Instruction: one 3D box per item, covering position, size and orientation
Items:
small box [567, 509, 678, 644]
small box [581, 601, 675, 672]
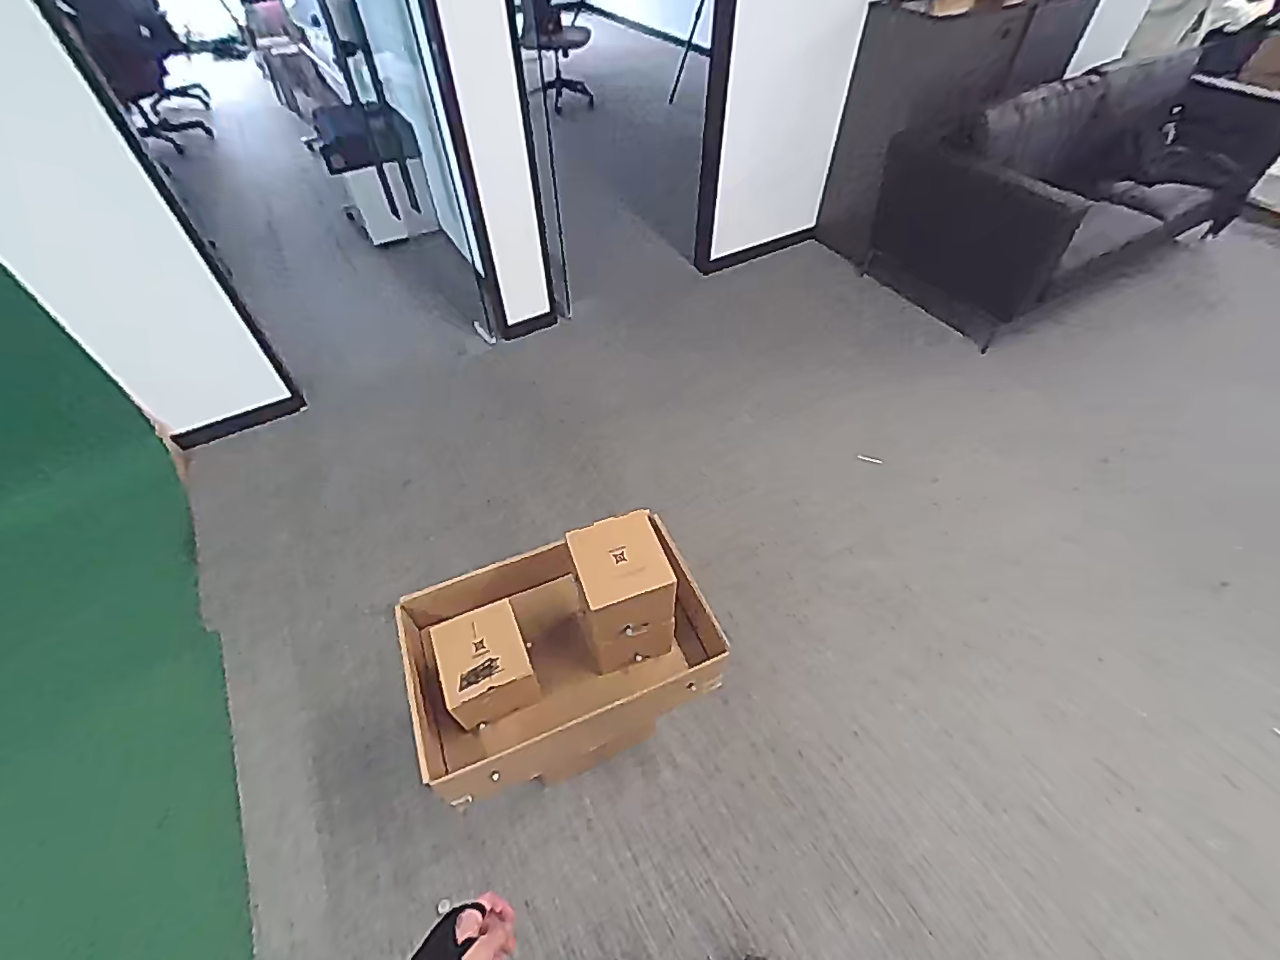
[{"bbox_3d":[-0.037,0.189,1.057,0.168,0.176,0.179,-16,53,-13],"label":"small box"},{"bbox_3d":[-0.034,0.290,1.185,0.168,0.176,0.179,-15,53,-12],"label":"small box"}]
